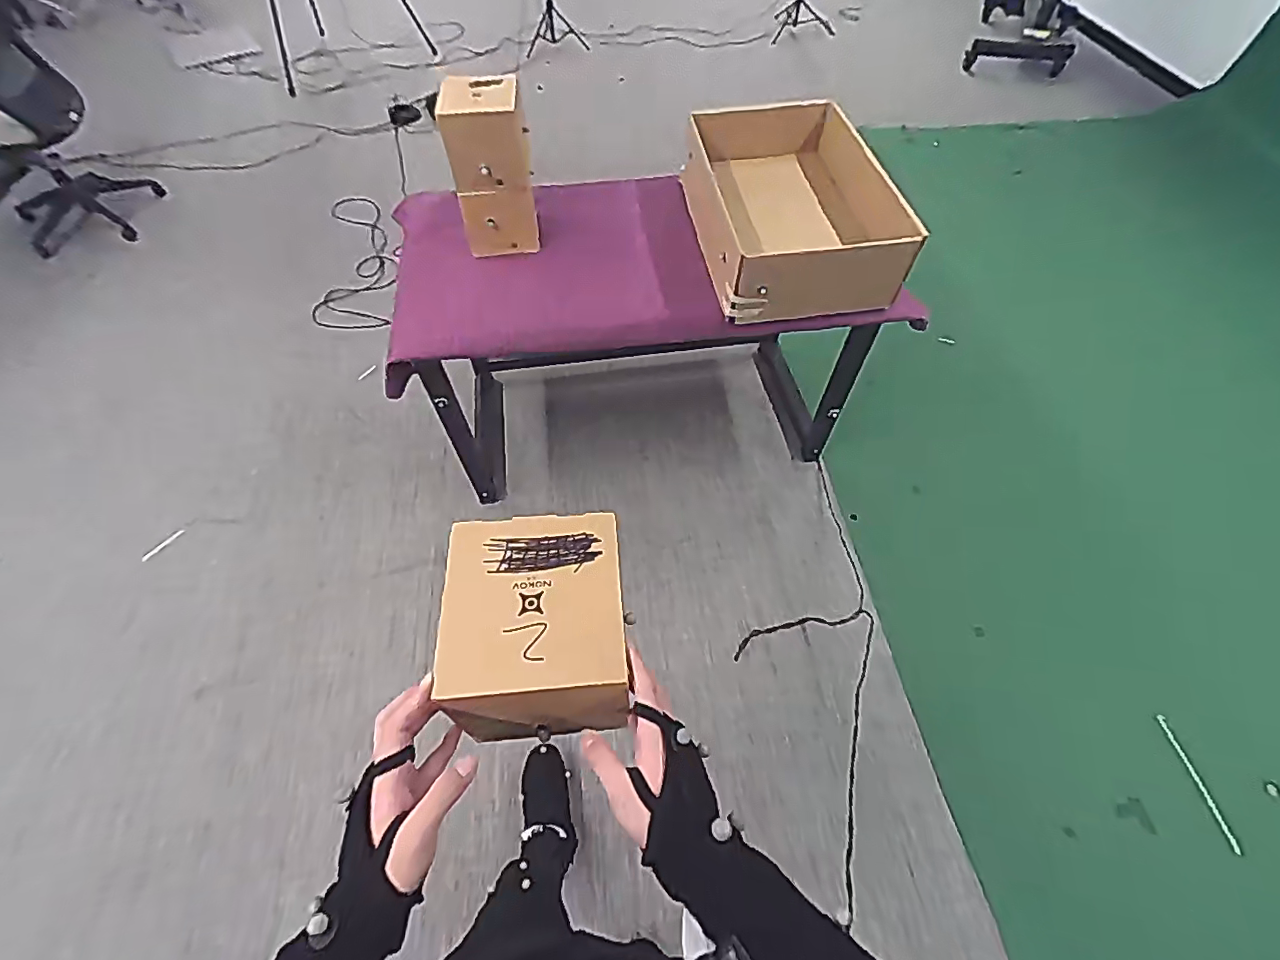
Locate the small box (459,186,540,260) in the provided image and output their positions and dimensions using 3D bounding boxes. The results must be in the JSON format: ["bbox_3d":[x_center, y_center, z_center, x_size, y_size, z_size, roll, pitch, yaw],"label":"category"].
[{"bbox_3d":[-0.349,-0.675,1.364,0.168,0.176,0.179,-8,57,-5],"label":"small box"}]

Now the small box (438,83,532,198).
[{"bbox_3d":[-0.342,-0.769,1.228,0.168,0.176,0.179,-4,57,-3],"label":"small box"}]
